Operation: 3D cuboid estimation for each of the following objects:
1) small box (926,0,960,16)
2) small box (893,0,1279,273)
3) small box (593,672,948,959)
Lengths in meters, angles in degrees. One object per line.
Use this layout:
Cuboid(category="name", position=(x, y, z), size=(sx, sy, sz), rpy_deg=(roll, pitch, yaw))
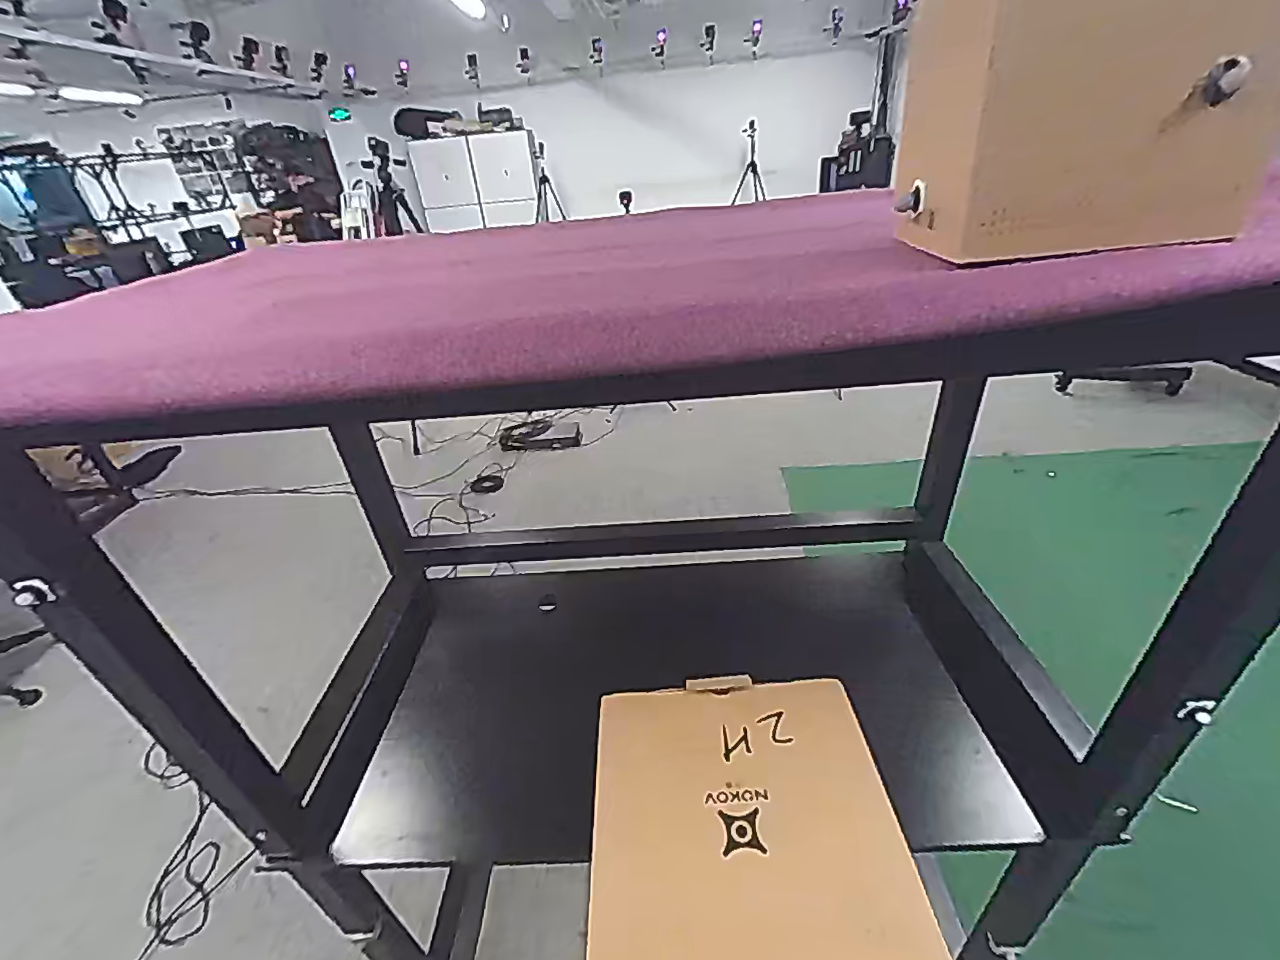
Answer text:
Cuboid(category="small box", position=(0.291, -0.406, 0.329), size=(0.179, 0.176, 0.168), rpy_deg=(0, 29, 11))
Cuboid(category="small box", position=(0.310, -0.262, 0.403), size=(0.179, 0.176, 0.168), rpy_deg=(-3, 29, 9))
Cuboid(category="small box", position=(0.067, 0.253, 0.348), size=(0.168, 0.176, 0.179), rpy_deg=(-4, 32, 2))
